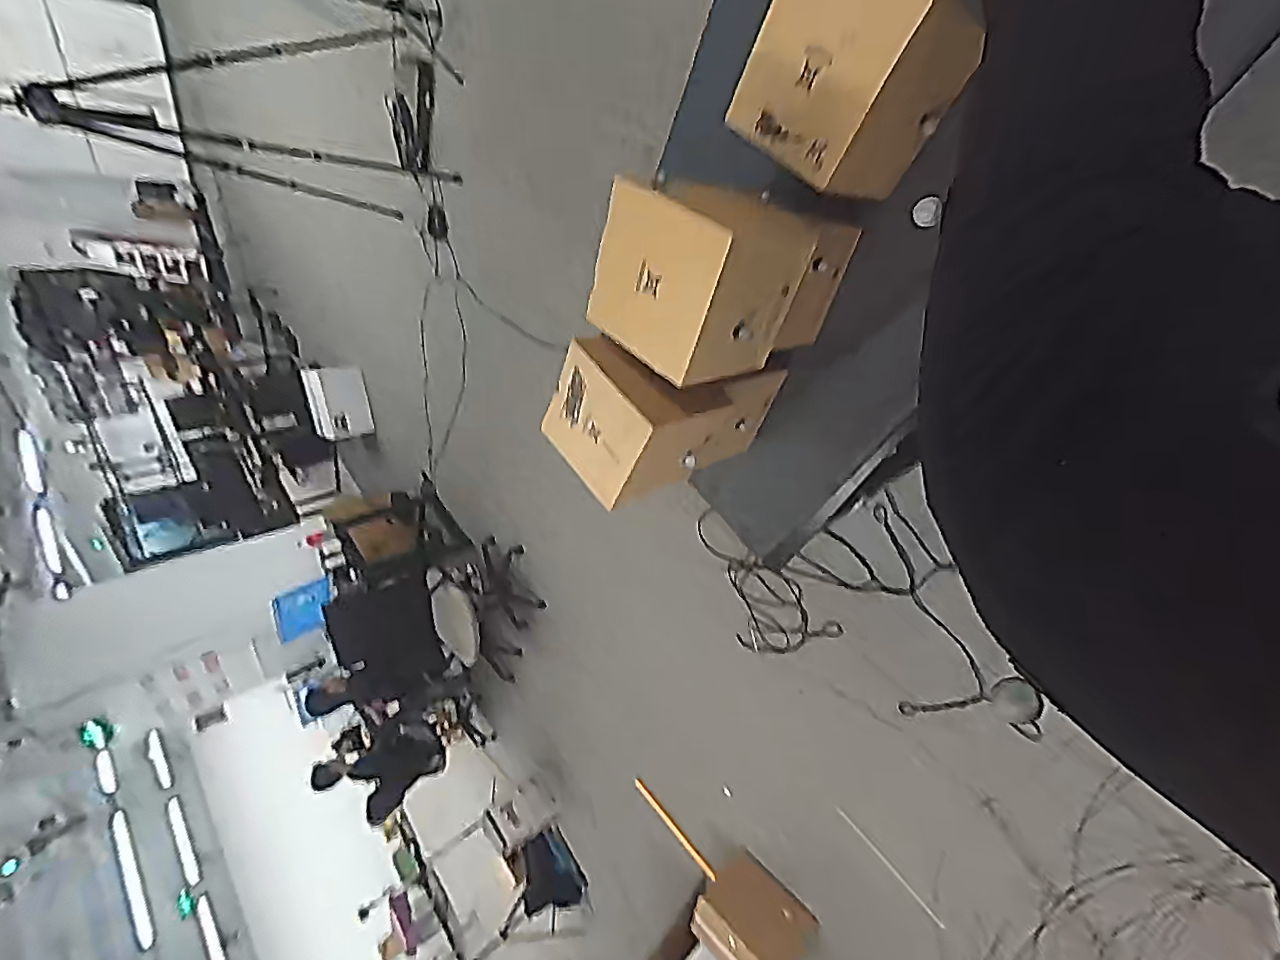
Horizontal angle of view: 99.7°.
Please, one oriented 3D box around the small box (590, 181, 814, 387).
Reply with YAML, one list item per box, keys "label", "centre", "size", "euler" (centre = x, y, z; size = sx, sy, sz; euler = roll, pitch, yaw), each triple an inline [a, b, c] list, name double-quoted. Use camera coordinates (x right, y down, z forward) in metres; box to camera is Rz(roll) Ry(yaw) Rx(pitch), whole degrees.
- label: "small box"
  centre: [0.071, -0.234, 0.639]
  size: [0.179, 0.176, 0.168]
  euler: [41, 132, 29]
